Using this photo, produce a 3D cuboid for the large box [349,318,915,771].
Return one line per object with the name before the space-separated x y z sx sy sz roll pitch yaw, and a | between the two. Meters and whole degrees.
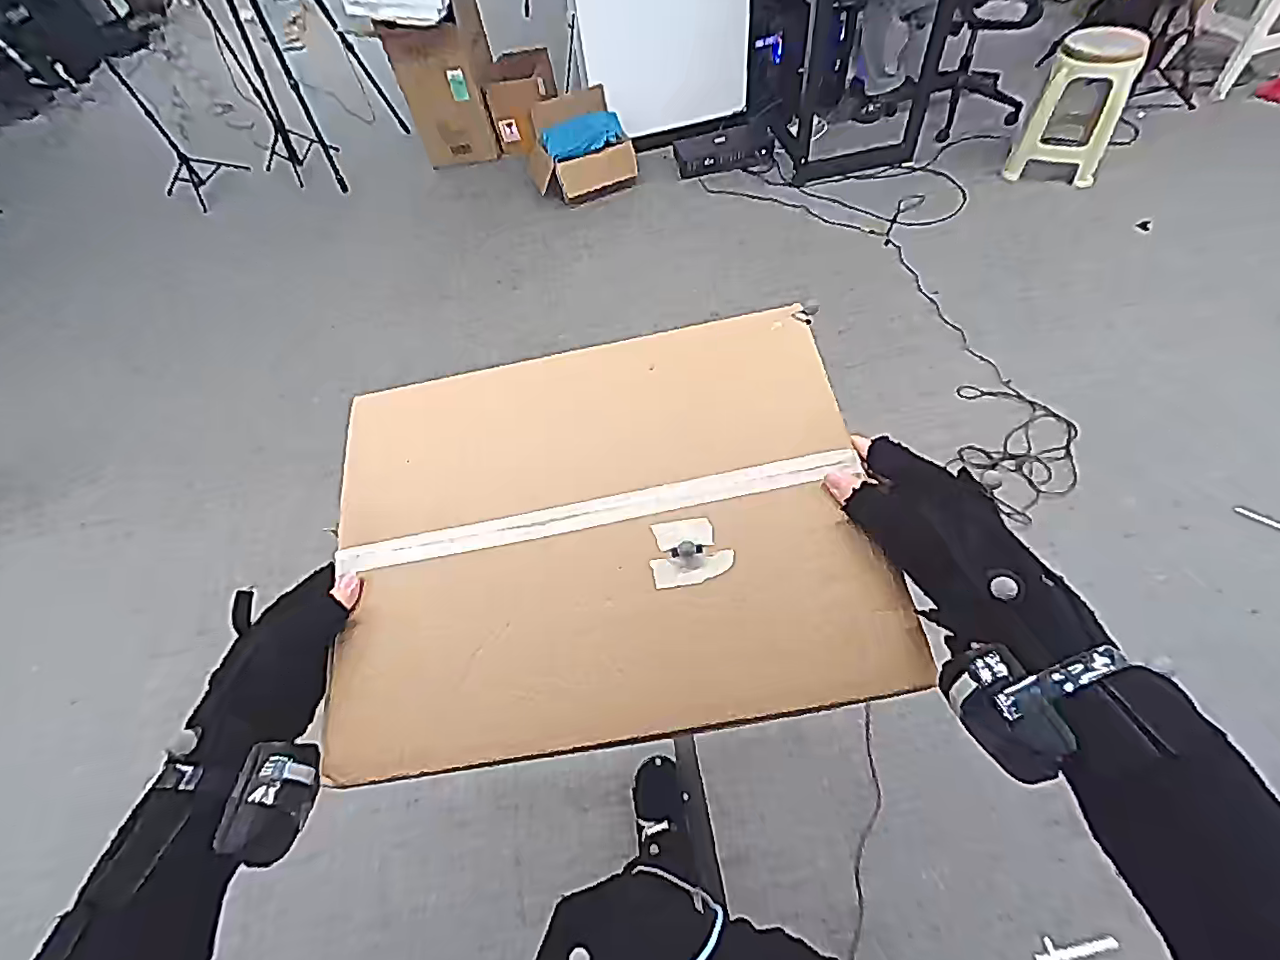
large box | -0.015 0.090 0.564 0.408 0.320 0.320 -11 65 3
